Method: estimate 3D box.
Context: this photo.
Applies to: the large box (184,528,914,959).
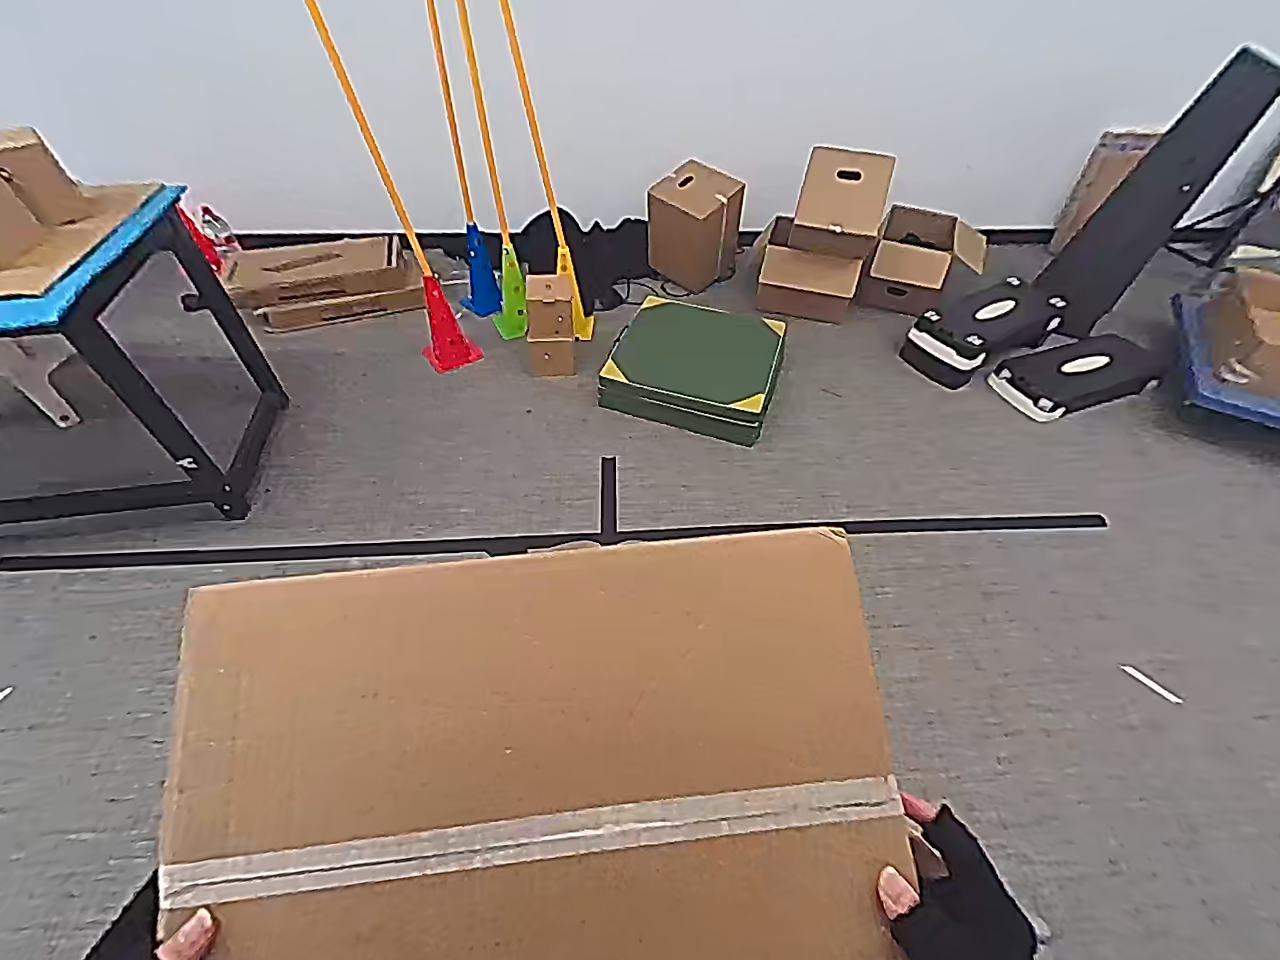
[{"bbox_3d":[-0.058,0.237,0.458,0.408,0.320,0.320,-5,76,-3],"label":"large box"}]
